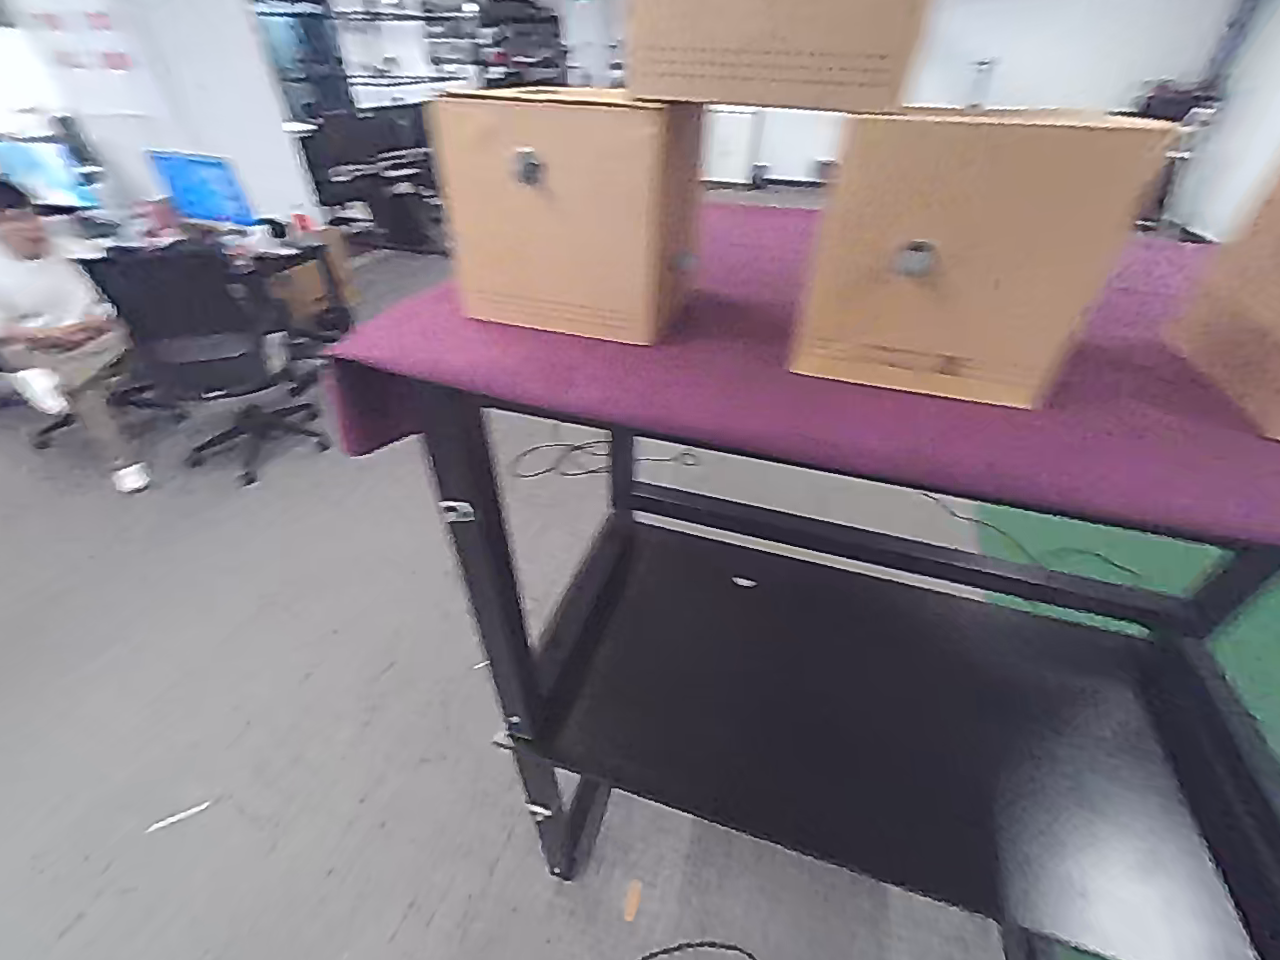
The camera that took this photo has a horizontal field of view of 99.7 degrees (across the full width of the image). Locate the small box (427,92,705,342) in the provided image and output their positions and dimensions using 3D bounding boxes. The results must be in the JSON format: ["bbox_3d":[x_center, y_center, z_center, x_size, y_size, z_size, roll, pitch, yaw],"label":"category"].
[{"bbox_3d":[-0.051,-0.236,0.478,0.179,0.176,0.168,13,39,13],"label":"small box"}]

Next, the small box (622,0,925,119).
[{"bbox_3d":[0.098,-0.338,0.347,0.179,0.176,0.168,14,38,15],"label":"small box"}]

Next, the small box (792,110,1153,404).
[{"bbox_3d":[0.216,-0.174,0.409,0.168,0.176,0.179,11,37,15],"label":"small box"}]
